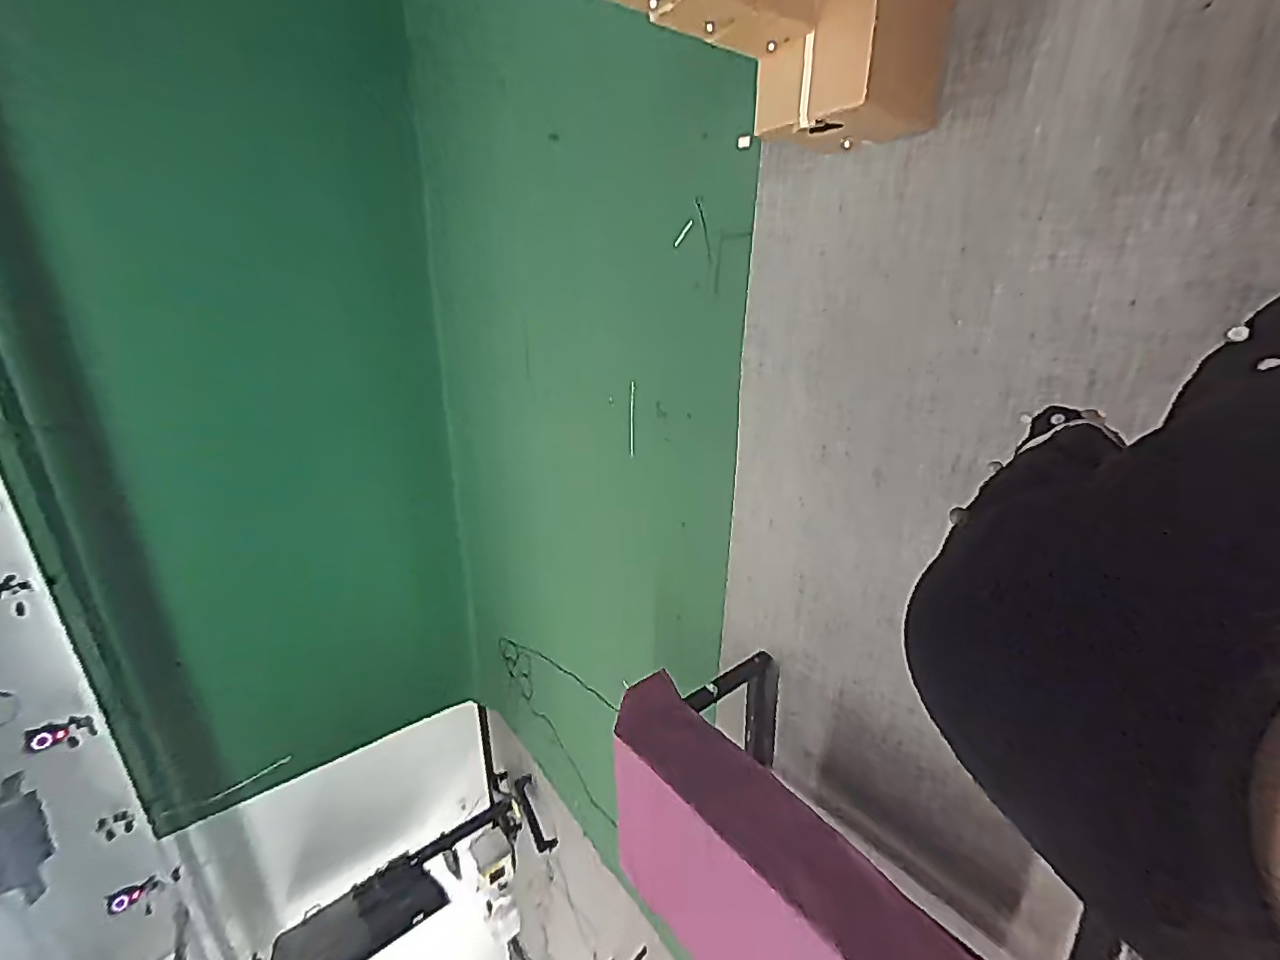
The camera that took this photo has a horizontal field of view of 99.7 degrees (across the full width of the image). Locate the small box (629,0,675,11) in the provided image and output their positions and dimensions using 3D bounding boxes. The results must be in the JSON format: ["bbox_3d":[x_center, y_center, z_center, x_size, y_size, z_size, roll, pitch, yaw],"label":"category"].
[{"bbox_3d":[0.012,-1.030,1.010,0.168,0.176,0.179,28,125,50],"label":"small box"}]

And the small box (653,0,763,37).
[{"bbox_3d":[0.142,-1.056,1.105,0.168,0.176,0.179,25,122,51],"label":"small box"}]

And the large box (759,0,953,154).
[{"bbox_3d":[0.515,-1.061,1.296,0.320,0.320,0.408,23,119,48],"label":"large box"}]
